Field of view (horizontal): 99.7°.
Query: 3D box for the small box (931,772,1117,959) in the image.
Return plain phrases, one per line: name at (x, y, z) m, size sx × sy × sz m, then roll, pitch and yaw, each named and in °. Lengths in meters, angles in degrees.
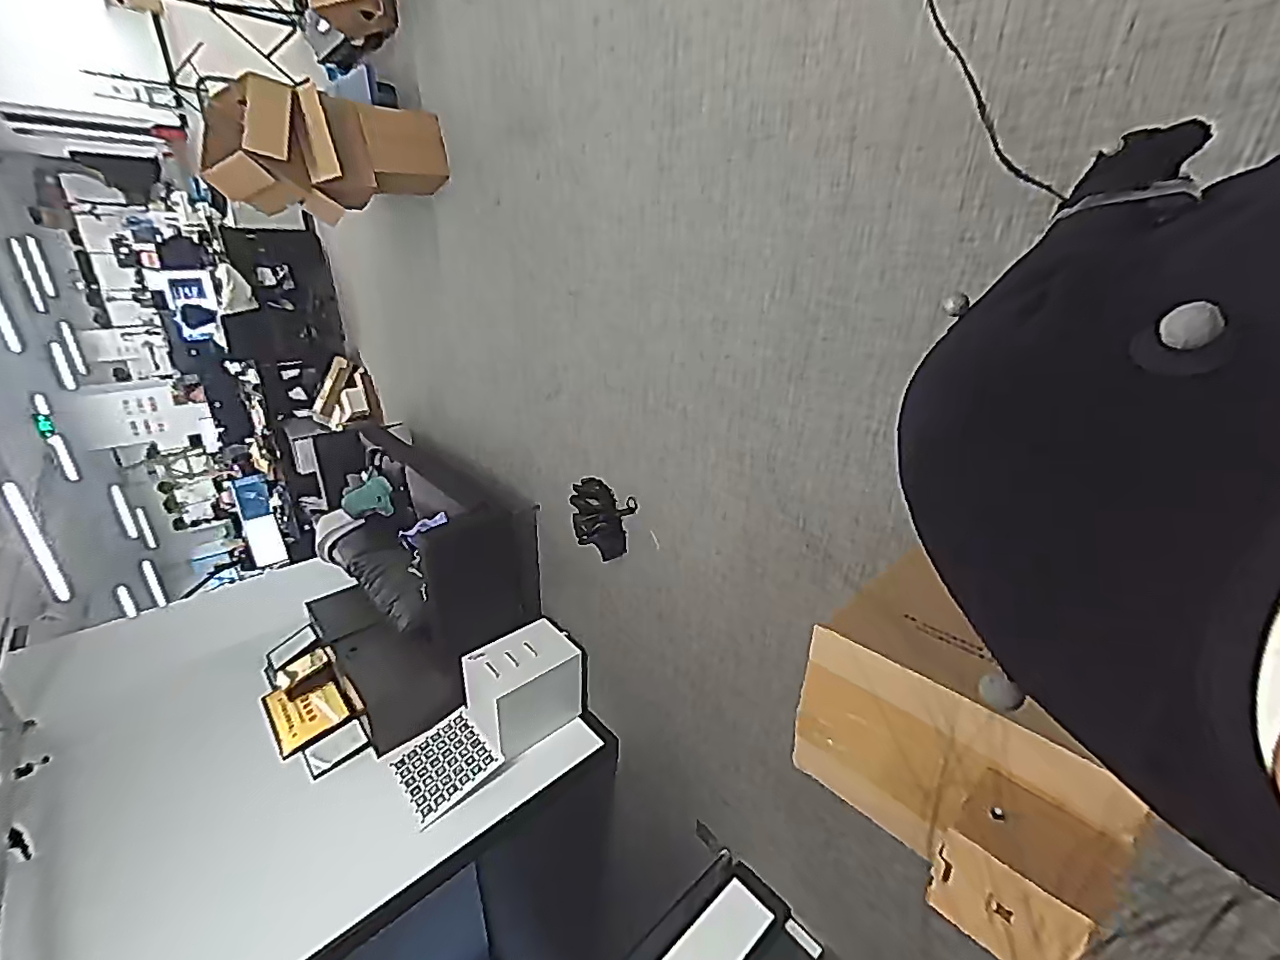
small box at (0.574, 0.580, 0.812) m, size 0.179 × 0.176 × 0.168 m, roll 20°, pitch 117°, yaw 42°
